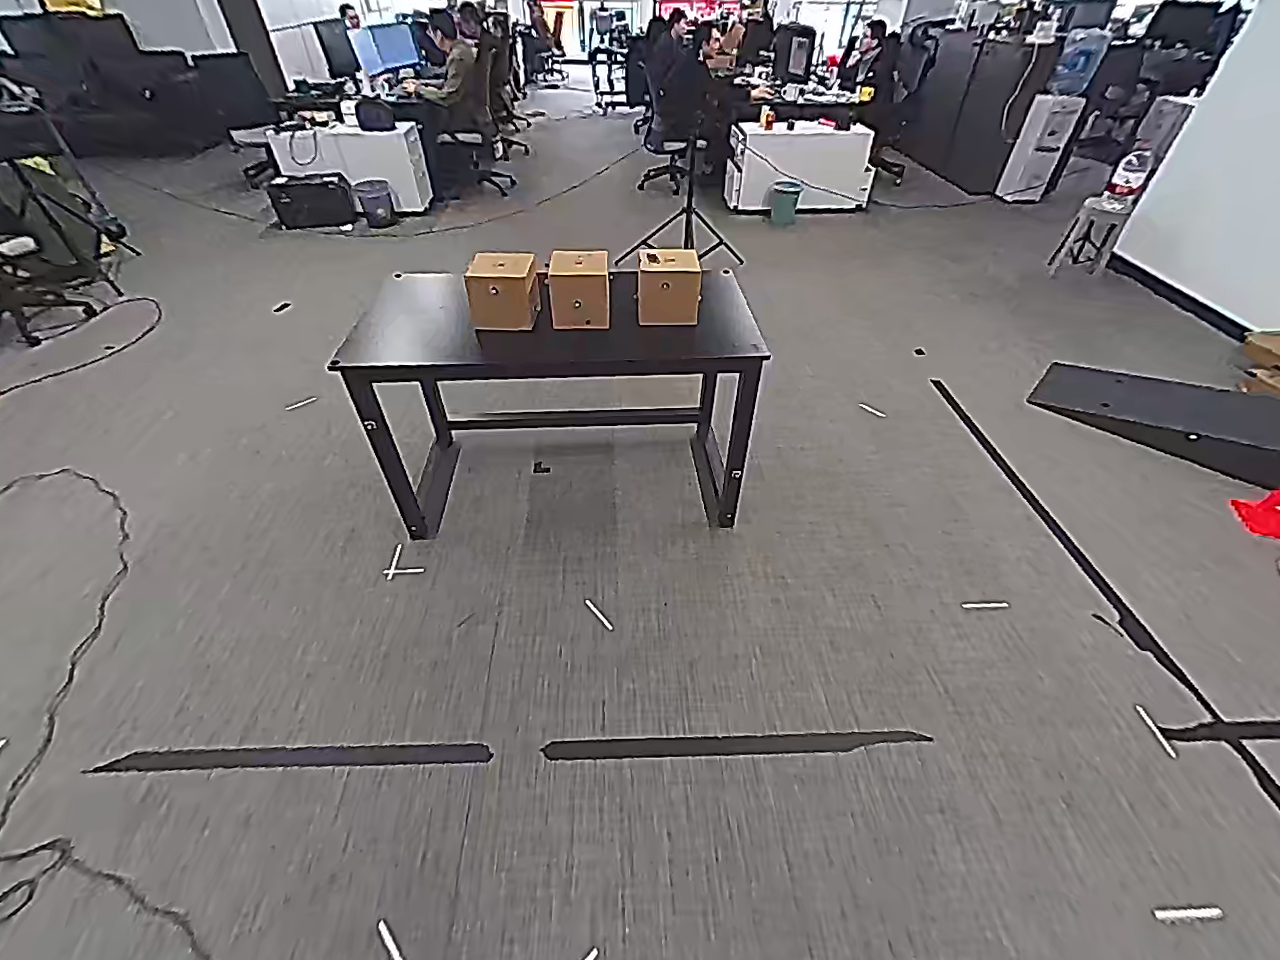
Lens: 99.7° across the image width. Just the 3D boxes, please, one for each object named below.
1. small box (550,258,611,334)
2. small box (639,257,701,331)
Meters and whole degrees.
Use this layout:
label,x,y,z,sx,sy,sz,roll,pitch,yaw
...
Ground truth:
label,x,y,z,sx,sy,sz,roll,pitch,yaw
small box,-0.173,-0.554,1.634,0.168,0.176,0.179,-1,43,-2
small box,0.087,-0.568,1.652,0.179,0.176,0.168,0,43,-1
